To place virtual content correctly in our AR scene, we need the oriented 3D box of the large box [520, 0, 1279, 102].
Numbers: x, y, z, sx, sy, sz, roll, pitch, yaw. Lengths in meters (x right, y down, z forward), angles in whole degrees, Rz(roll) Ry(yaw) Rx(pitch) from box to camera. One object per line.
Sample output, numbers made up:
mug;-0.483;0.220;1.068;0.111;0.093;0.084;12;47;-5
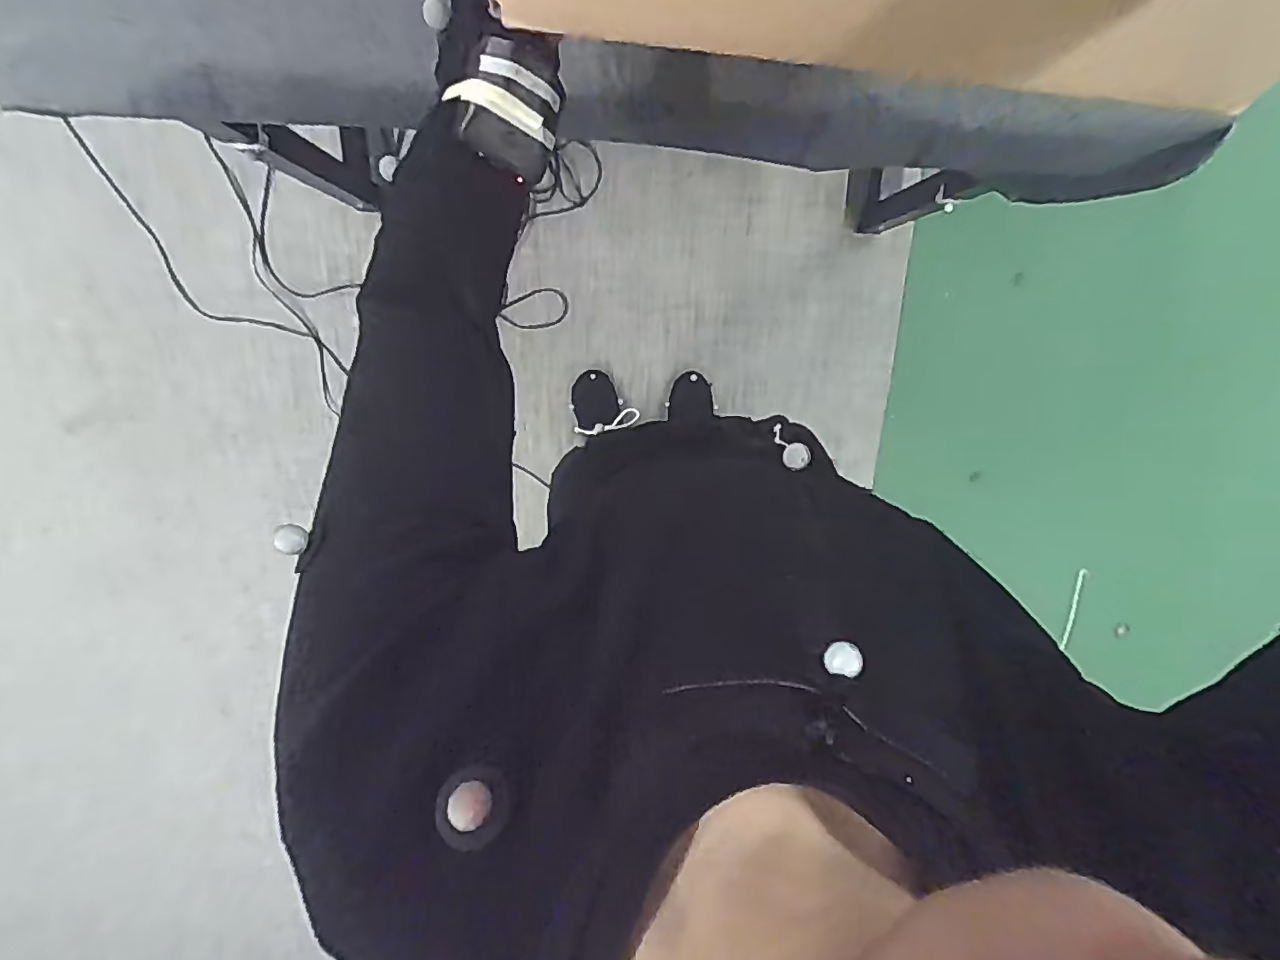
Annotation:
large box;0.148;-0.408;0.204;0.408;0.320;0.320;2;71;-4
